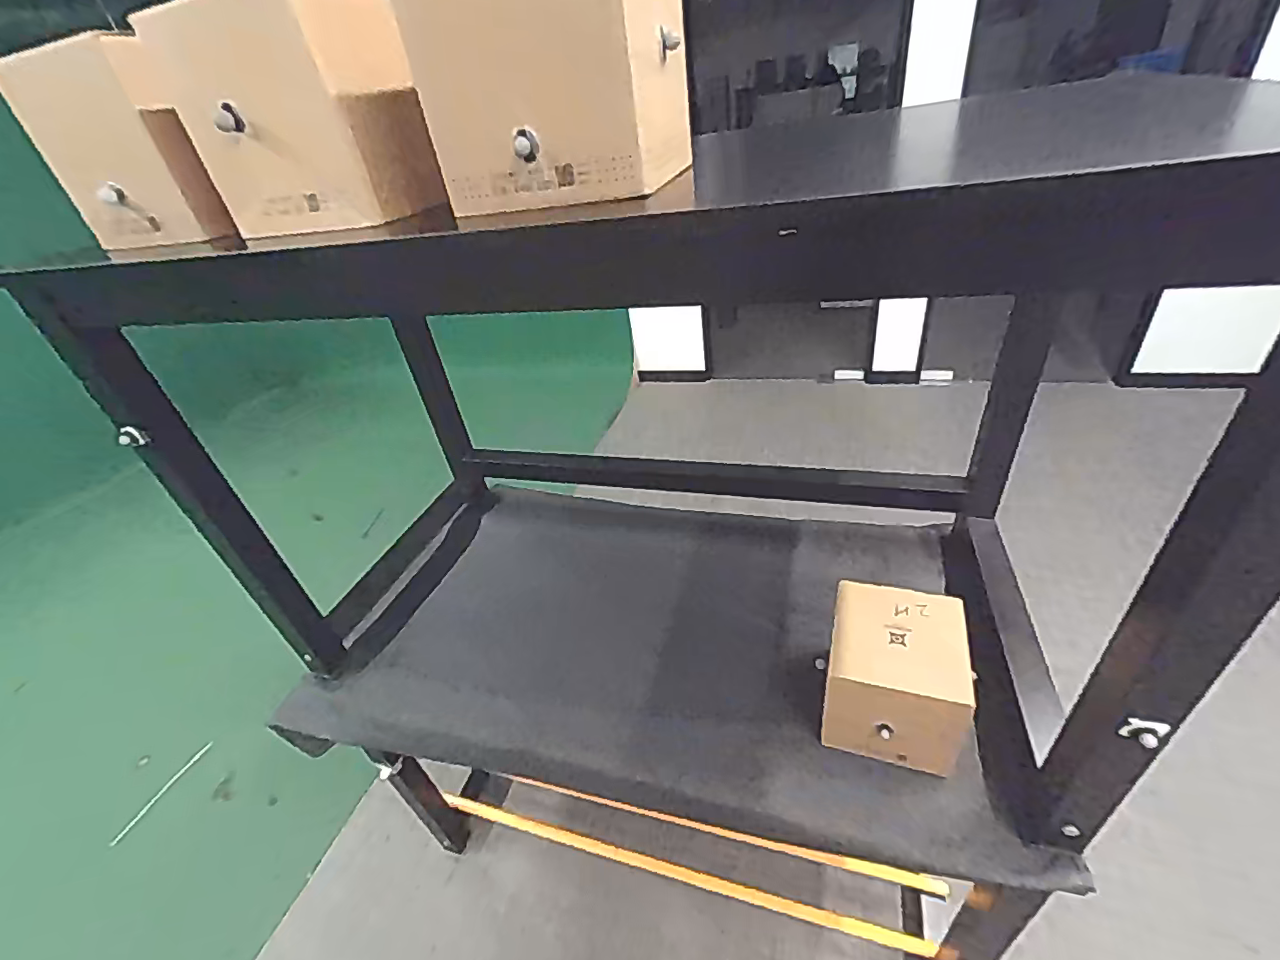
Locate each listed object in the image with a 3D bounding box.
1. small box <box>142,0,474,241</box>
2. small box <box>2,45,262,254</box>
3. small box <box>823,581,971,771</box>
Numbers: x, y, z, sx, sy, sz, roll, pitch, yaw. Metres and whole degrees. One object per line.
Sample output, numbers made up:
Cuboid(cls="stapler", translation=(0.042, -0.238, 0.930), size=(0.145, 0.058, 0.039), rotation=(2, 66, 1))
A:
Cuboid(cls="small box", translation=(-0.286, -0.332, 0.513), size=(0.168, 0.176, 0.179), rotation=(4, 37, 20))
Cuboid(cls="small box", translation=(-0.494, -0.357, 0.596), size=(0.168, 0.176, 0.179), rotation=(5, 38, 19))
Cuboid(cls="small box", translation=(0.356, 0.275, 0.768), size=(0.168, 0.176, 0.179), rotation=(7, 37, 22))
